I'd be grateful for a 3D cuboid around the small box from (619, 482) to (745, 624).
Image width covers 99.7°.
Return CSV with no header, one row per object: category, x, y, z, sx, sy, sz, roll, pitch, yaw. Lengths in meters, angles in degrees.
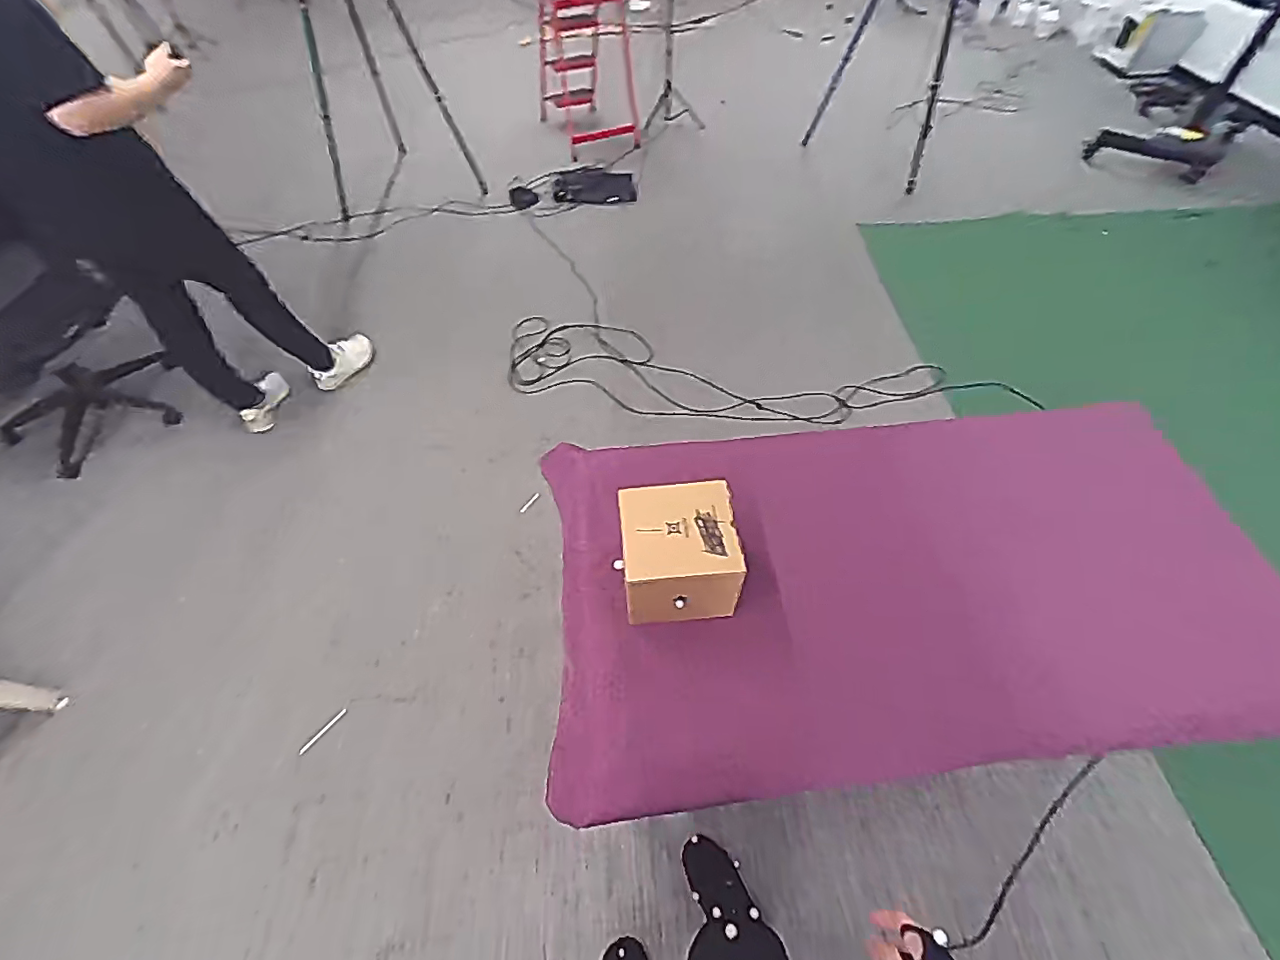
small box,0.060,0.123,0.881,0.179,0.176,0.168,-5,54,-2
